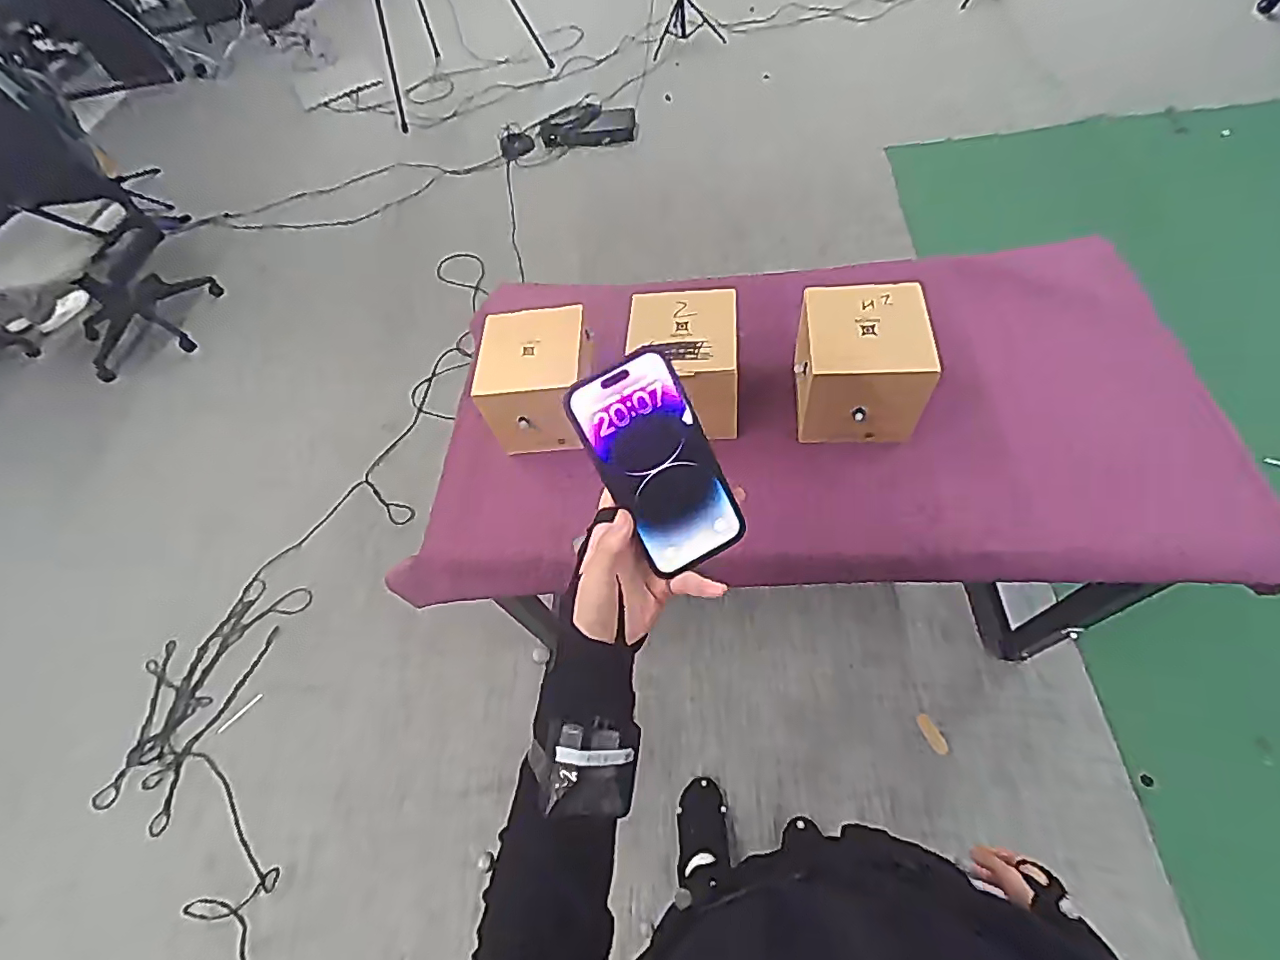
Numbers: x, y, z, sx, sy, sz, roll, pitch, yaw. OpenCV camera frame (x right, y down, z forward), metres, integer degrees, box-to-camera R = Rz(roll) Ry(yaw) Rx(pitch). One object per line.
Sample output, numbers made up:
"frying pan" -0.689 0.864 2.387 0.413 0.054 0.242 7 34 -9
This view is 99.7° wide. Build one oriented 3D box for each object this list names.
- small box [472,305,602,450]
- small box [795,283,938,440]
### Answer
"small box" -0.161 -0.163 0.910 0.168 0.176 0.179 -5 58 7
"small box" 0.333 -0.176 0.832 0.168 0.176 0.179 1 59 10
